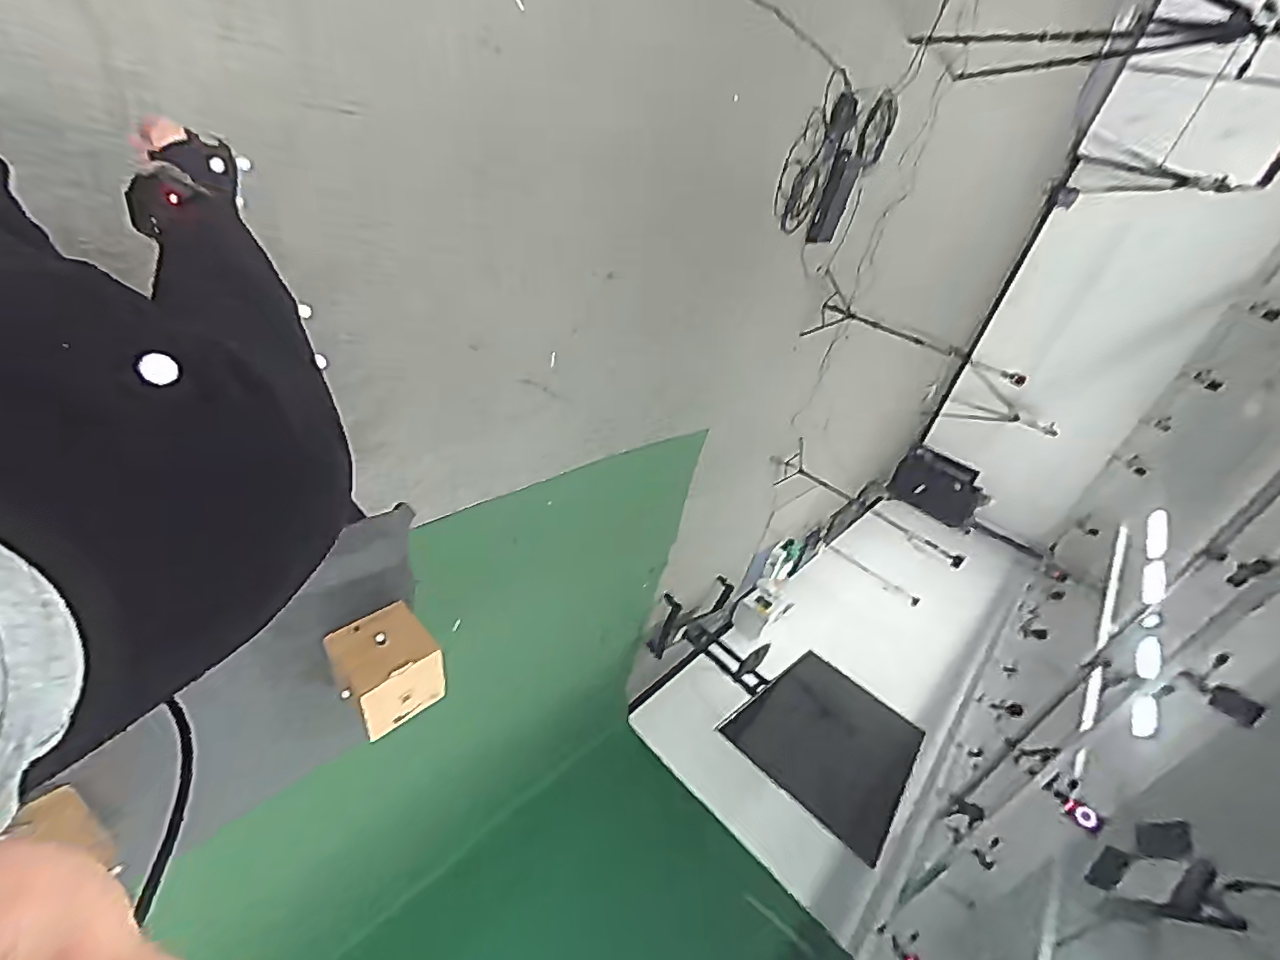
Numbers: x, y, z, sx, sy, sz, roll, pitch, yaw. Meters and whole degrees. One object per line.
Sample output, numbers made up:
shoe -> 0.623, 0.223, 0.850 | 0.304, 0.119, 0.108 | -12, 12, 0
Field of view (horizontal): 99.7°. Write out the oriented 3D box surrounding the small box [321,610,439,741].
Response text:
small box -> -0.553, 0.404, 1.156 | 0.168, 0.176, 0.179 | -27, 140, -41

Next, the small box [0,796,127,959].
small box -> -0.927, 0.626, 0.816 | 0.168, 0.176, 0.179 | -26, 138, -43
